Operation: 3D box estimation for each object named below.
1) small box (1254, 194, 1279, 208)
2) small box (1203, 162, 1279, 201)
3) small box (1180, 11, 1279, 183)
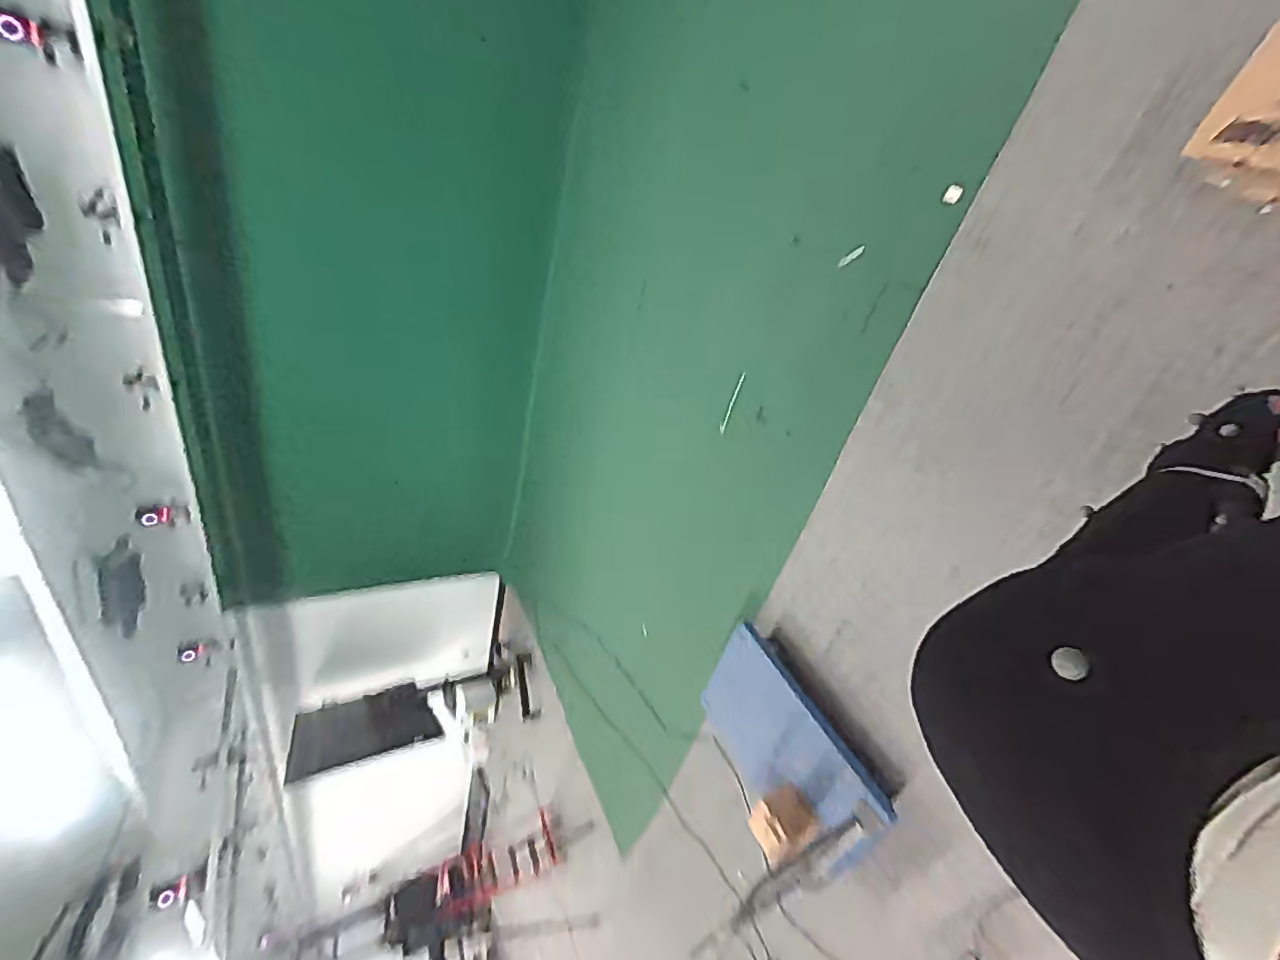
[{"bbox_3d":[1.261,-0.572,0.967,0.179,0.176,0.168,57,140,39],"label":"small box"},{"bbox_3d":[1.117,-0.561,0.890,0.168,0.176,0.179,57,140,39],"label":"small box"},{"bbox_3d":[0.982,-0.550,0.797,0.168,0.176,0.179,56,138,40],"label":"small box"}]
